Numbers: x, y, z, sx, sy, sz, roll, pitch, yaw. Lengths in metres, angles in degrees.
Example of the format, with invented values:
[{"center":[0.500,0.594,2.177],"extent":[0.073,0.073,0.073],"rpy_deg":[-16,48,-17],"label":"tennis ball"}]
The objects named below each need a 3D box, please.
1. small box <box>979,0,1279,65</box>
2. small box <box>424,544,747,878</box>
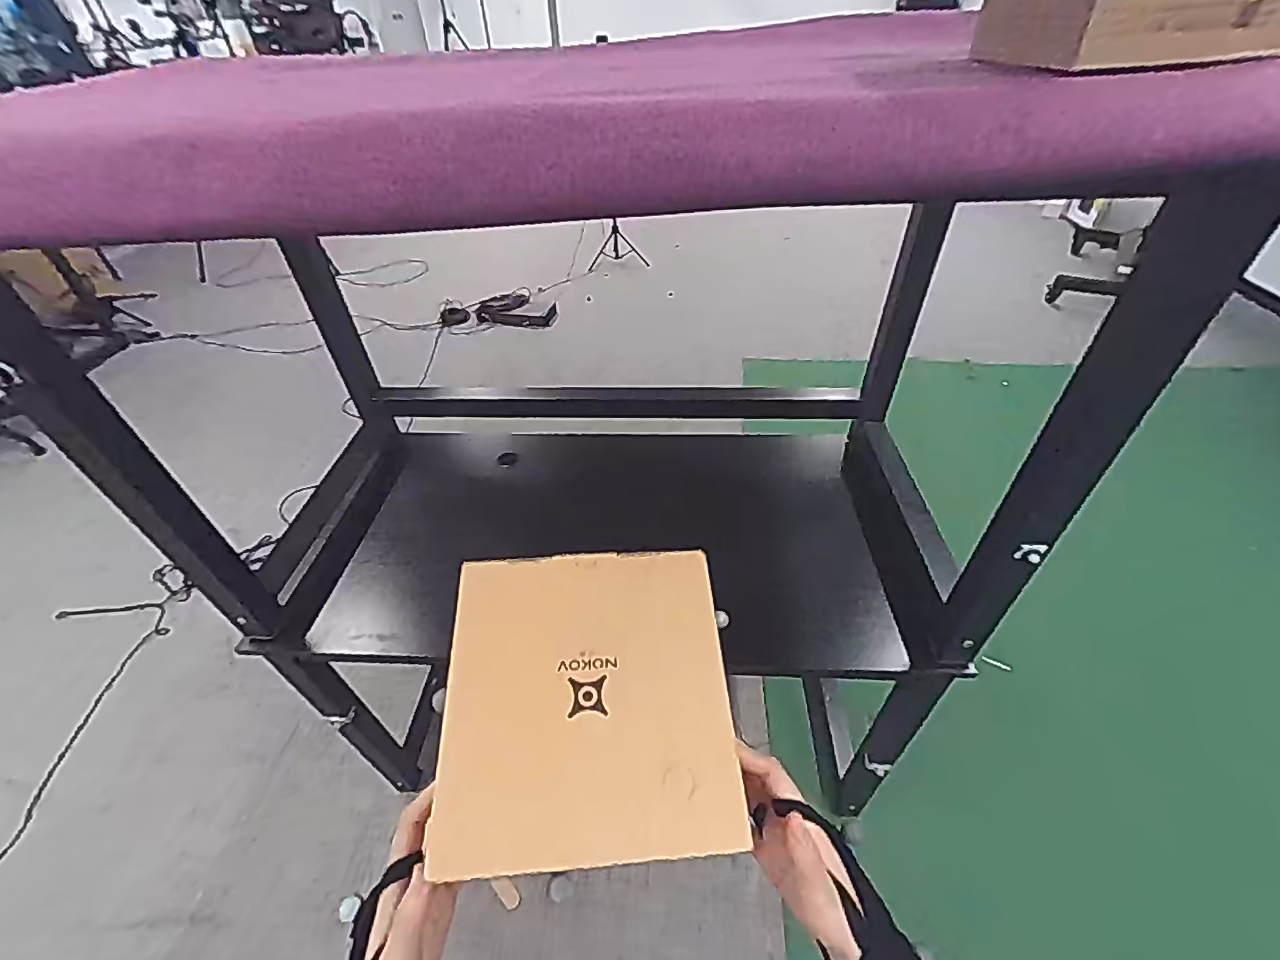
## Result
[{"center":[0.390,-0.413,0.394],"extent":[0.168,0.176,0.179],"rpy_deg":[0,40,3],"label":"small box"},{"center":[-0.033,0.166,0.381],"extent":[0.168,0.176,0.179],"rpy_deg":[-3,52,-4],"label":"small box"}]
